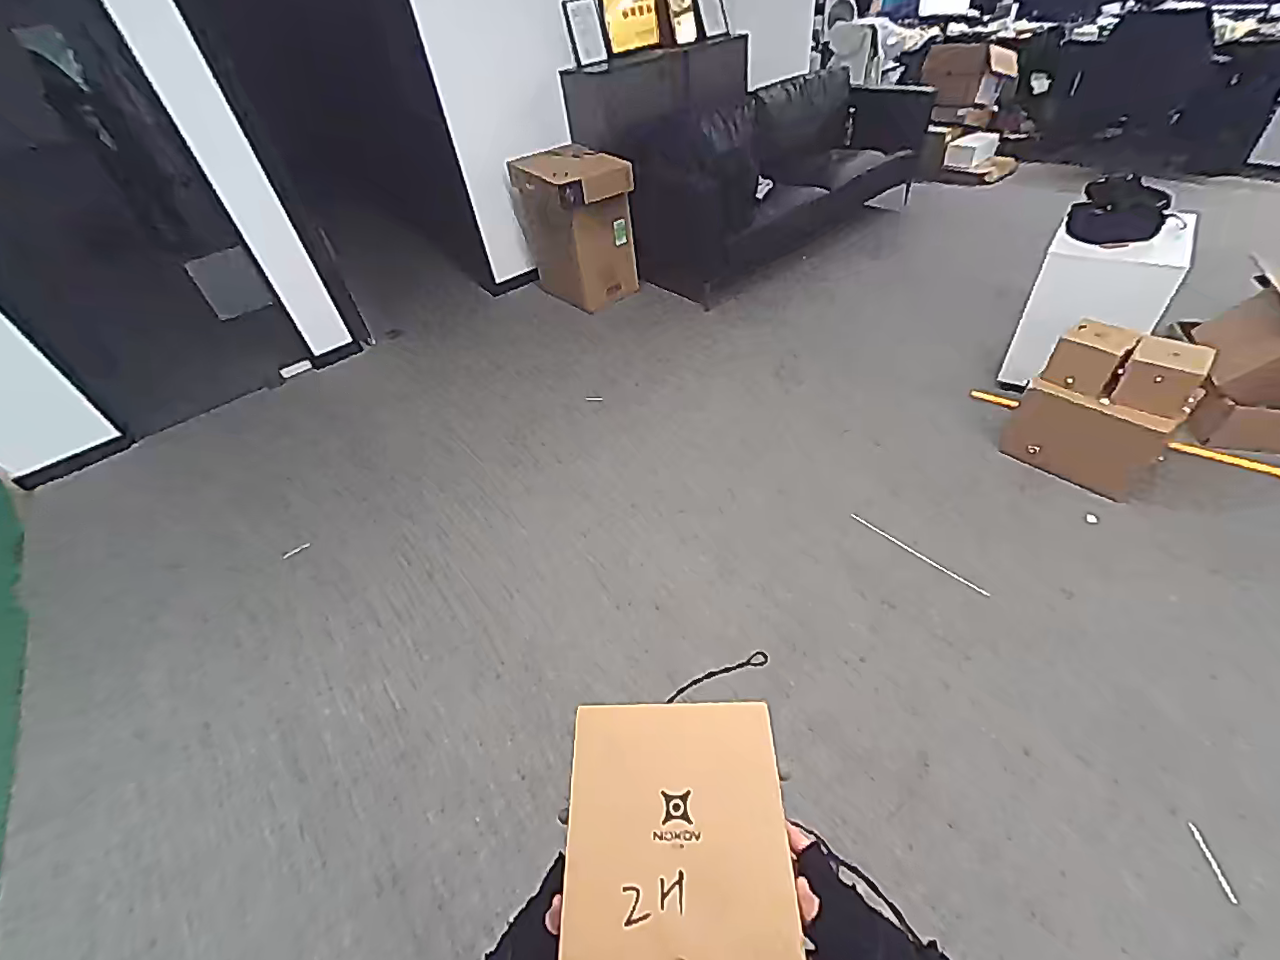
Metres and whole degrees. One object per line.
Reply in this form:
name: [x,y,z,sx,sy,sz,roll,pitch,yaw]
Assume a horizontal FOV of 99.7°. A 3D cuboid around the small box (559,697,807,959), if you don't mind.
small box: [0.033,0.305,0.465,0.168,0.176,0.179,-3,49,3]
